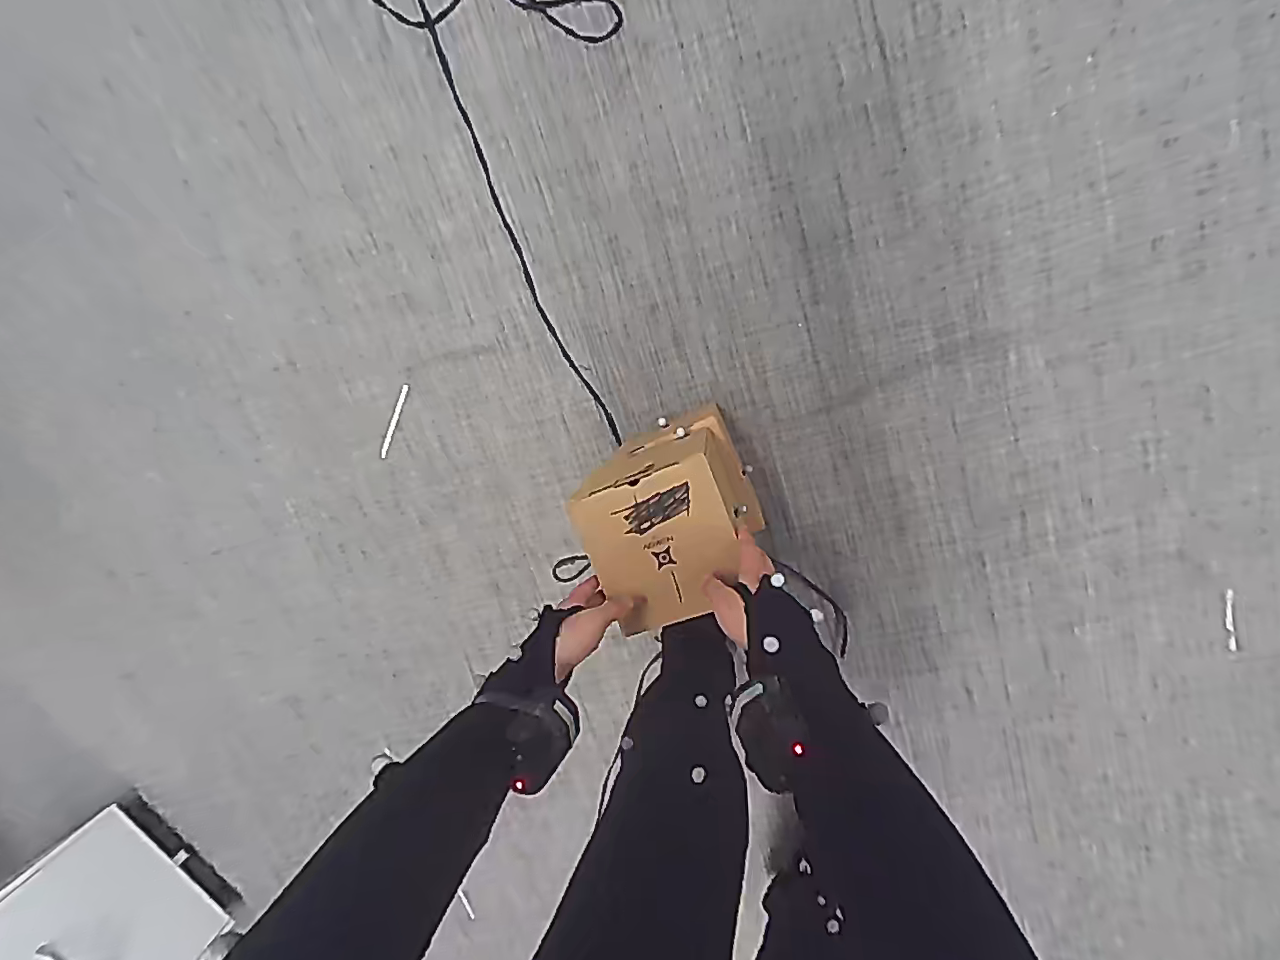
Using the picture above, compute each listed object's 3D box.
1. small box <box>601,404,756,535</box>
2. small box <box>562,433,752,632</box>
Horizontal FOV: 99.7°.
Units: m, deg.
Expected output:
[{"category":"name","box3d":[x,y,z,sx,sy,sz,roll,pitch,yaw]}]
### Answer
[{"category":"small box","box3d":[0.065,0.001,0.819,0.168,0.176,0.179,-24,100,12]},{"category":"small box","box3d":[0.028,0.051,0.667,0.168,0.176,0.179,-20,102,13]}]
